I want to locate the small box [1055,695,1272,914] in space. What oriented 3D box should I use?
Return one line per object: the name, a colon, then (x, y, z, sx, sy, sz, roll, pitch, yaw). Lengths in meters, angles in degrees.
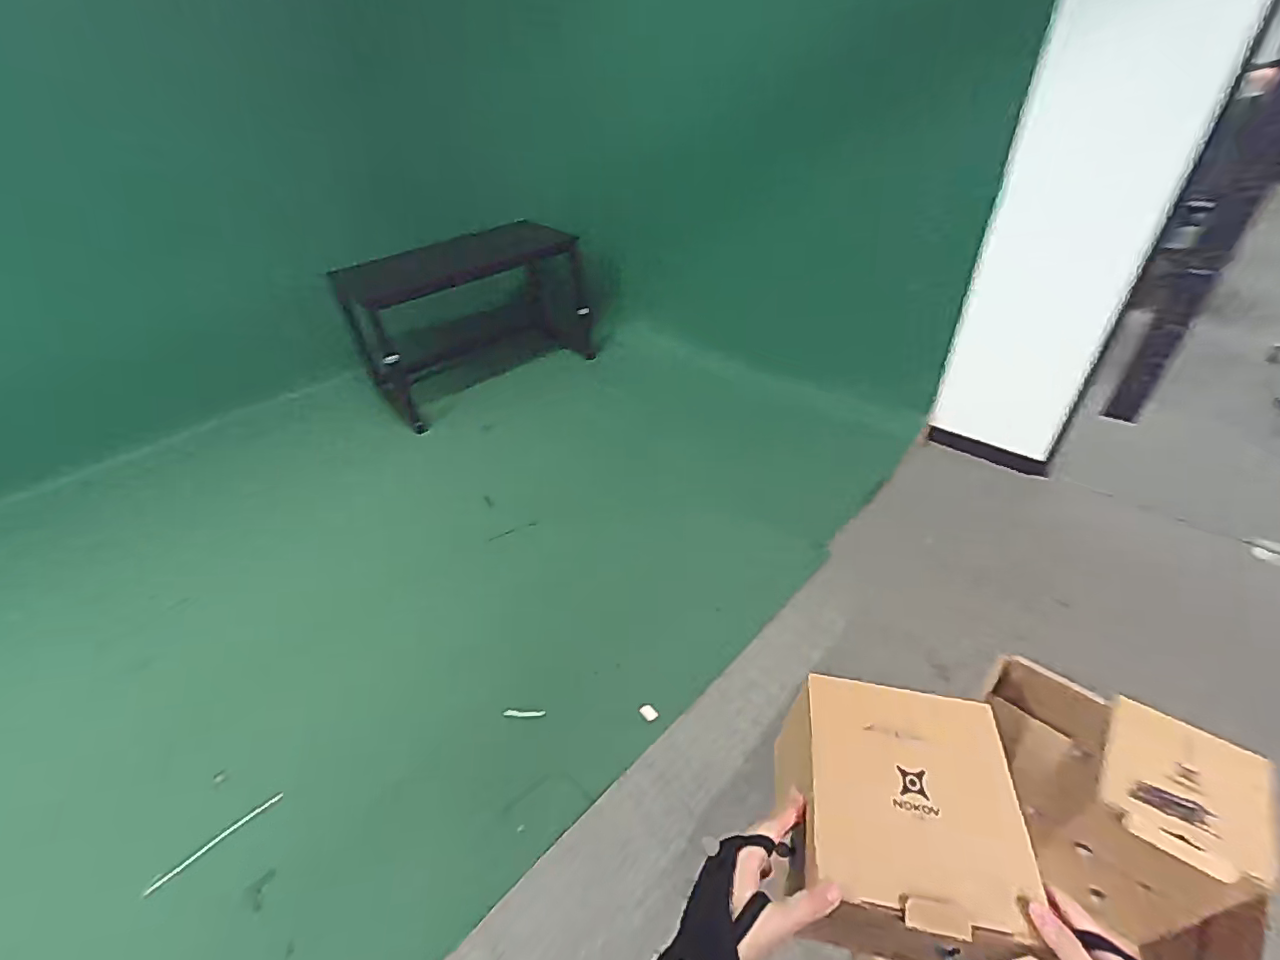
small box: (0.716, 0.451, 0.755, 0.168, 0.176, 0.179, 25, 50, 32)
